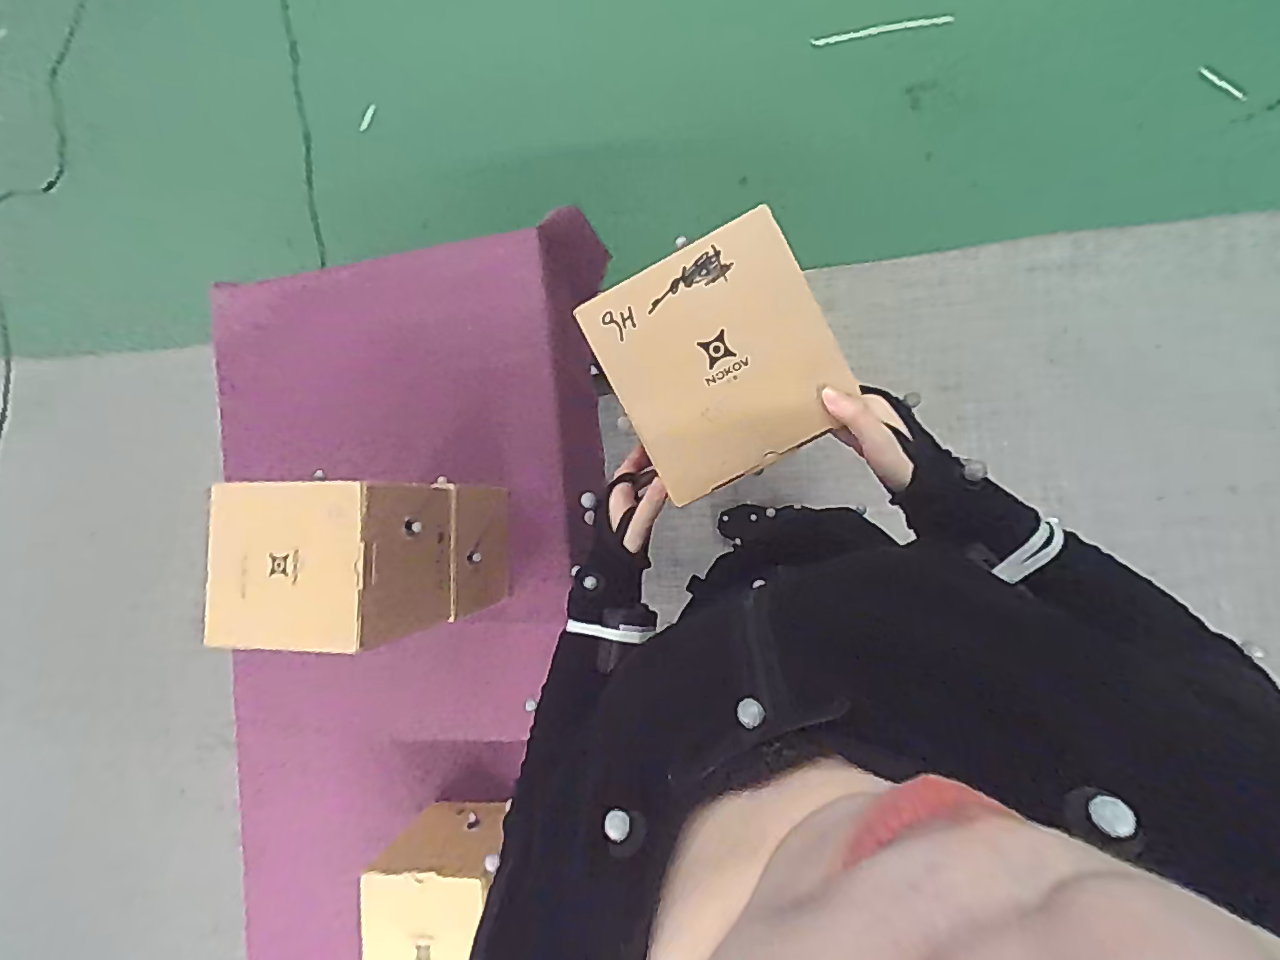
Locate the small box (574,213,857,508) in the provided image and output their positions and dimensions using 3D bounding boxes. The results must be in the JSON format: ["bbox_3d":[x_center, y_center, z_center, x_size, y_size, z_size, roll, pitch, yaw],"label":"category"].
[{"bbox_3d":[0.062,-0.096,0.492,0.168,0.176,0.179,-27,93,5],"label":"small box"}]

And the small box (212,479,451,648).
[{"bbox_3d":[-0.335,0.085,0.617,0.179,0.176,0.168,0,86,12],"label":"small box"}]

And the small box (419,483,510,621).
[{"bbox_3d":[-0.296,0.095,0.775,0.168,0.176,0.179,-1,87,10],"label":"small box"}]

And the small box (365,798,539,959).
[{"bbox_3d":[-0.246,0.570,0.739,0.168,0.176,0.179,-5,84,11],"label":"small box"}]
